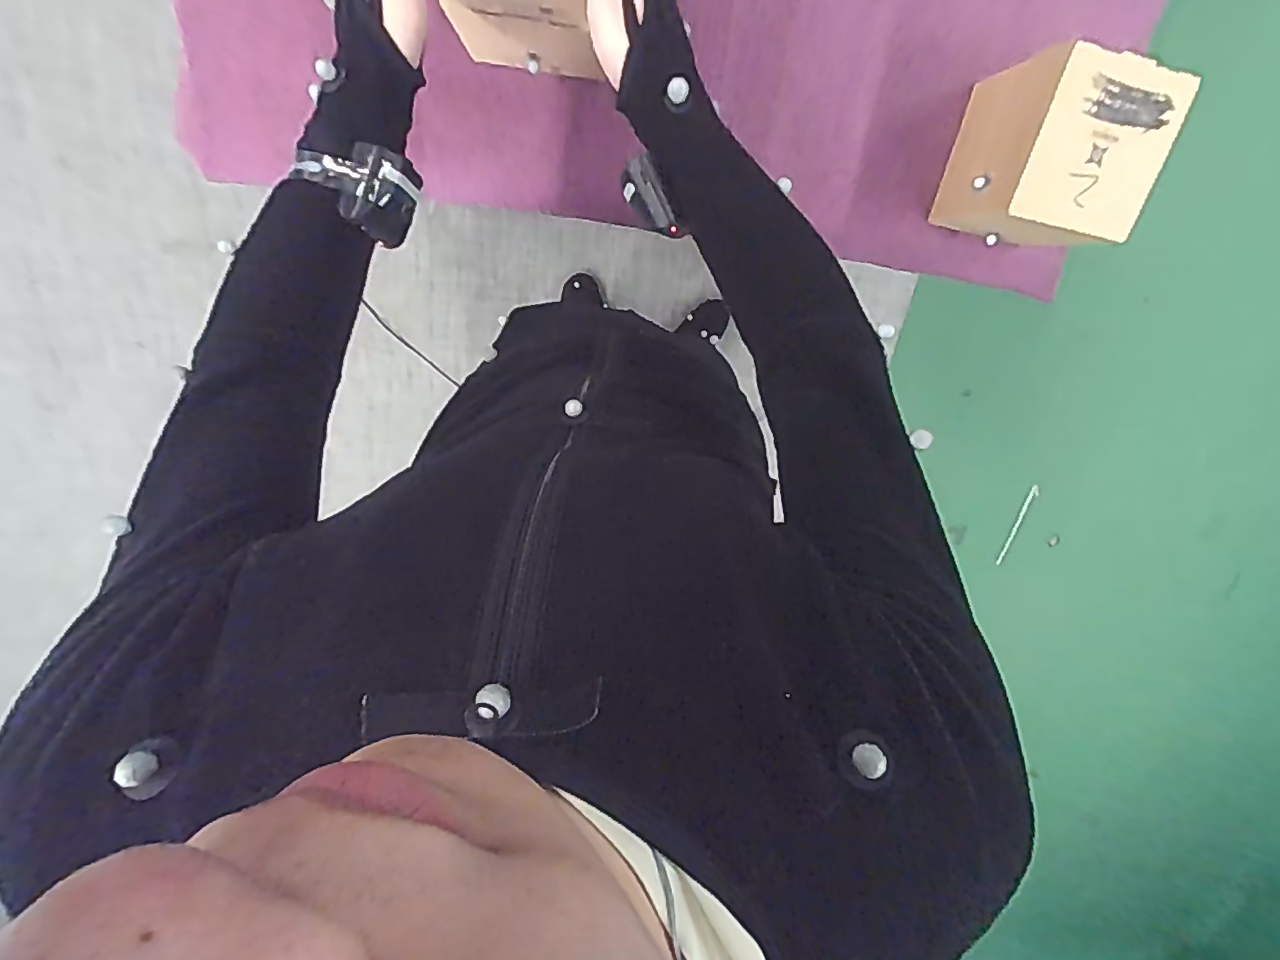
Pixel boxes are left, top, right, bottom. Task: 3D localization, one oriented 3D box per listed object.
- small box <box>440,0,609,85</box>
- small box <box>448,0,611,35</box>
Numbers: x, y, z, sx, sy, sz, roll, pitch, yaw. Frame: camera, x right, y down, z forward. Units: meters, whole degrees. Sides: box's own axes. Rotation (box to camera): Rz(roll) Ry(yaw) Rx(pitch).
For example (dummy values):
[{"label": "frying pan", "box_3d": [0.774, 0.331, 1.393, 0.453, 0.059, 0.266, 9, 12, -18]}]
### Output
[{"label": "small box", "box_3d": [-0.111, -0.558, 0.574, 0.168, 0.176, 0.179, 4, 113, -7]}, {"label": "small box", "box_3d": [-0.096, -0.496, 0.423, 0.168, 0.176, 0.179, 4, 113, -7]}]
